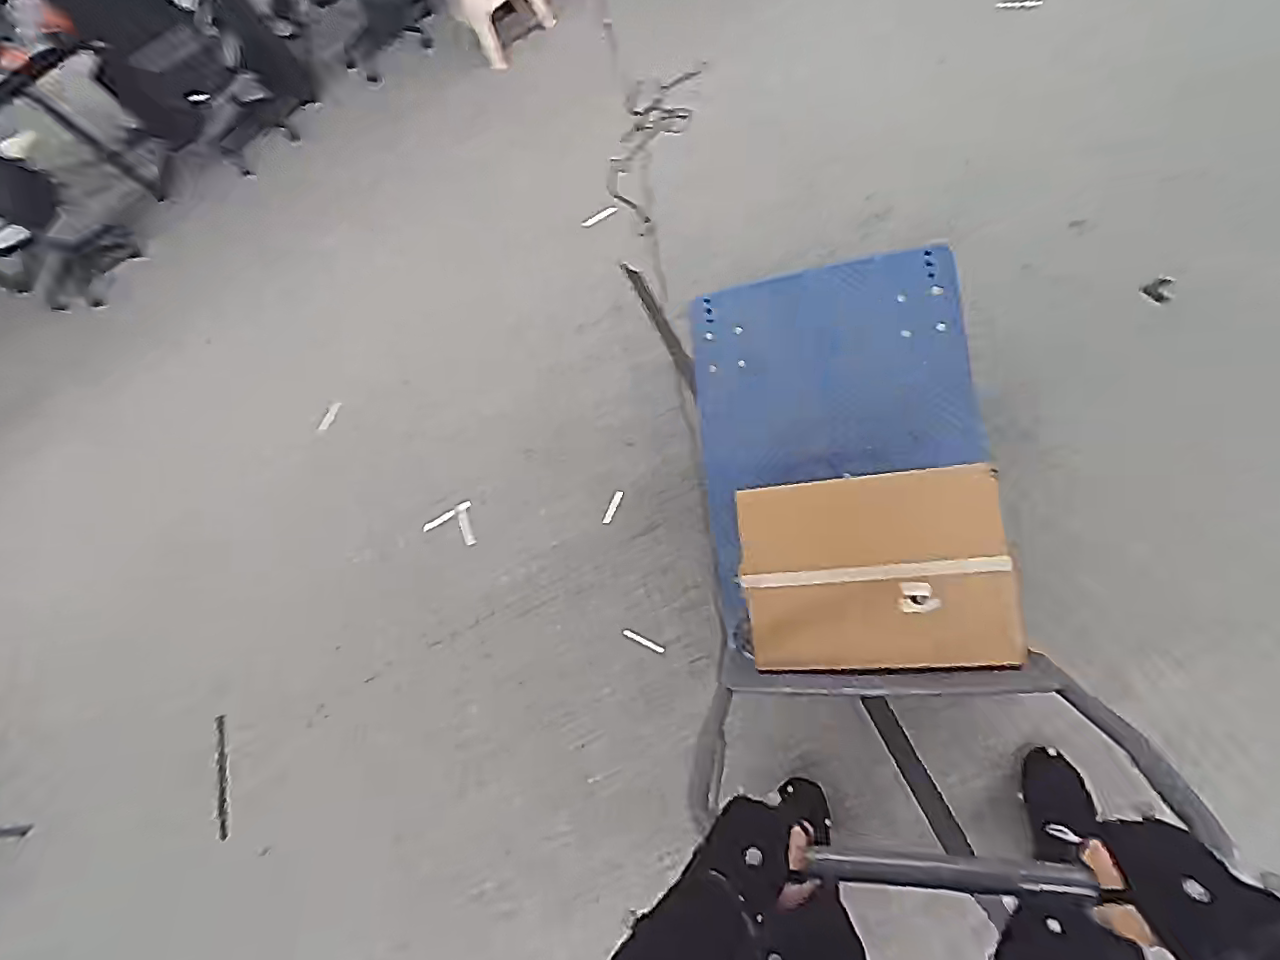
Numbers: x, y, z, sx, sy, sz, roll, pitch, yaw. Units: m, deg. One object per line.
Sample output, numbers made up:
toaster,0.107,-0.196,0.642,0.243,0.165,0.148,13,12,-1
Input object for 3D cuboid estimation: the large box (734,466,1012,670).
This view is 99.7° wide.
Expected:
large box,0.414,0.163,1.047,0.408,0.320,0.320,-7,86,16
